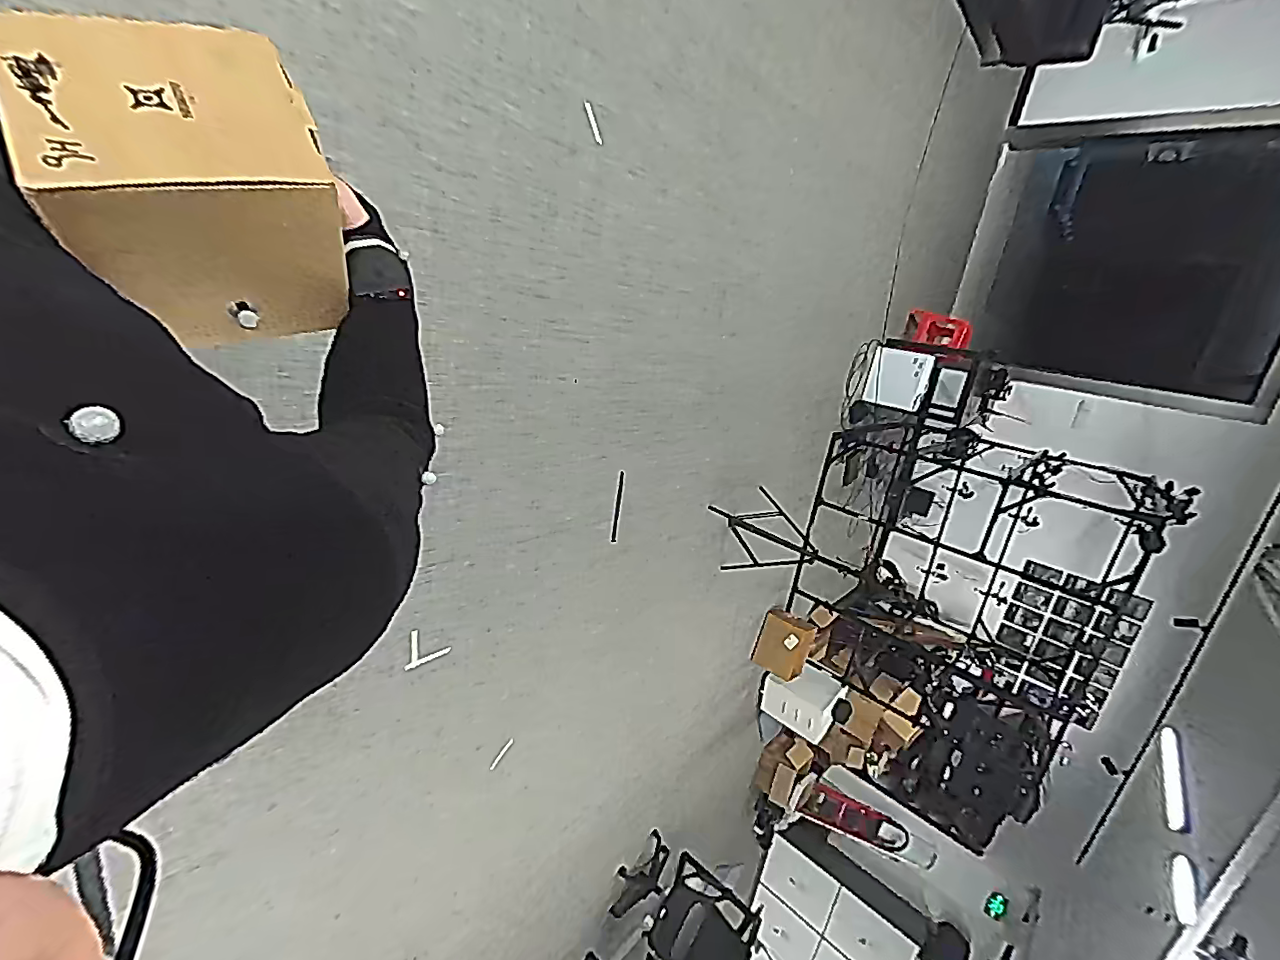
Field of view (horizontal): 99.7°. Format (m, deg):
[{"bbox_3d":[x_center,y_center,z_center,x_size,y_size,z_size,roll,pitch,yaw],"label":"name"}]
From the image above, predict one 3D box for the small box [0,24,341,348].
[{"bbox_3d":[-0.378,-0.239,0.471,0.179,0.168,0.176,-20,164,-31],"label":"small box"}]
